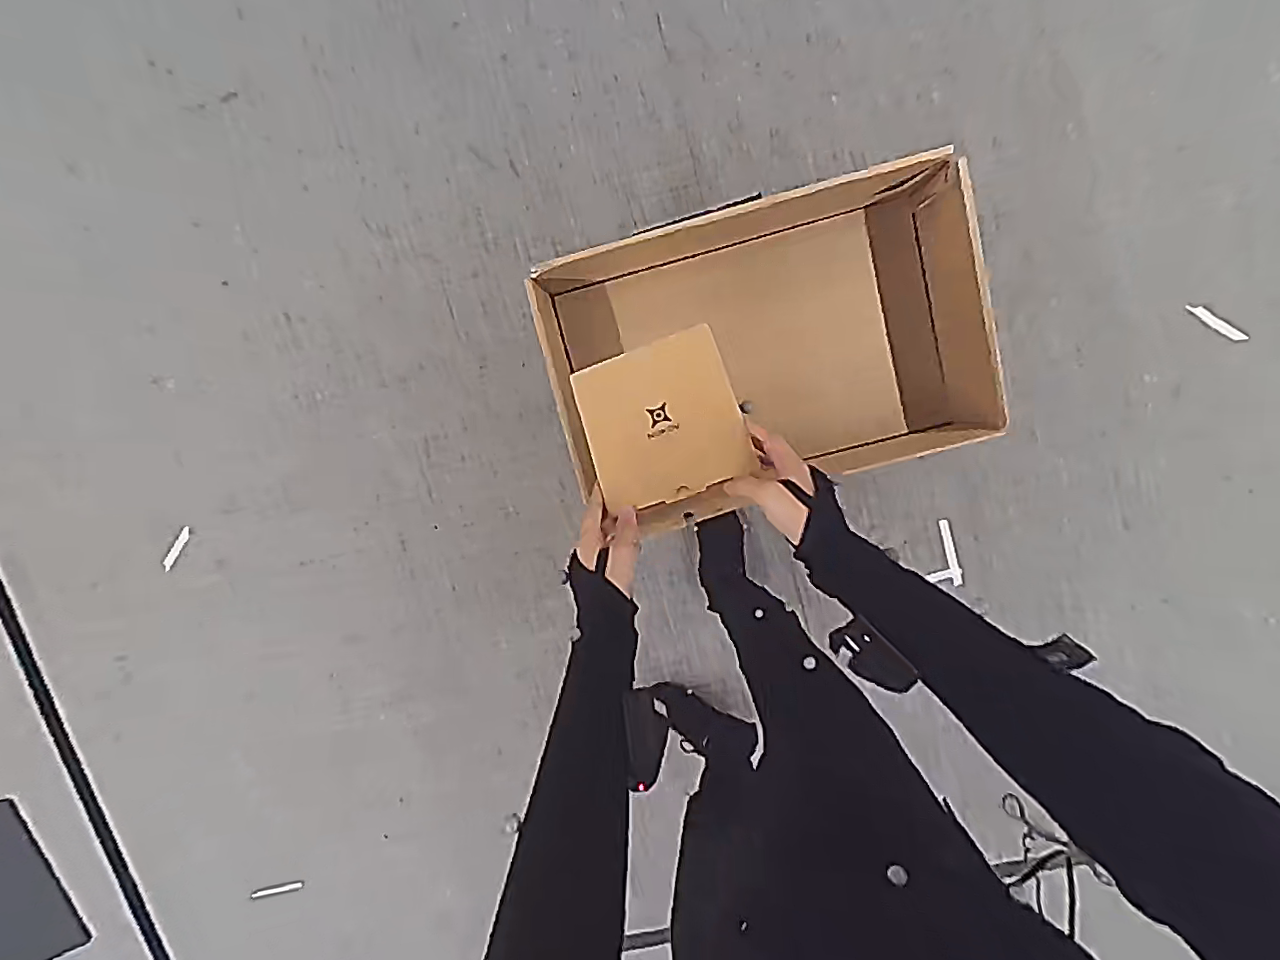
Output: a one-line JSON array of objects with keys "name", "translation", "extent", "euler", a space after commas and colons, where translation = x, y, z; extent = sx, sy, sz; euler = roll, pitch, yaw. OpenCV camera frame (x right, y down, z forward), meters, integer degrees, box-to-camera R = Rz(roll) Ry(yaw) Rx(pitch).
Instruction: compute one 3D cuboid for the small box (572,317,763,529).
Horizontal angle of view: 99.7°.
[{"name": "small box", "translation": [0.040, -0.055, 0.646], "extent": [0.168, 0.176, 0.179], "euler": [-21, 74, 9]}]
